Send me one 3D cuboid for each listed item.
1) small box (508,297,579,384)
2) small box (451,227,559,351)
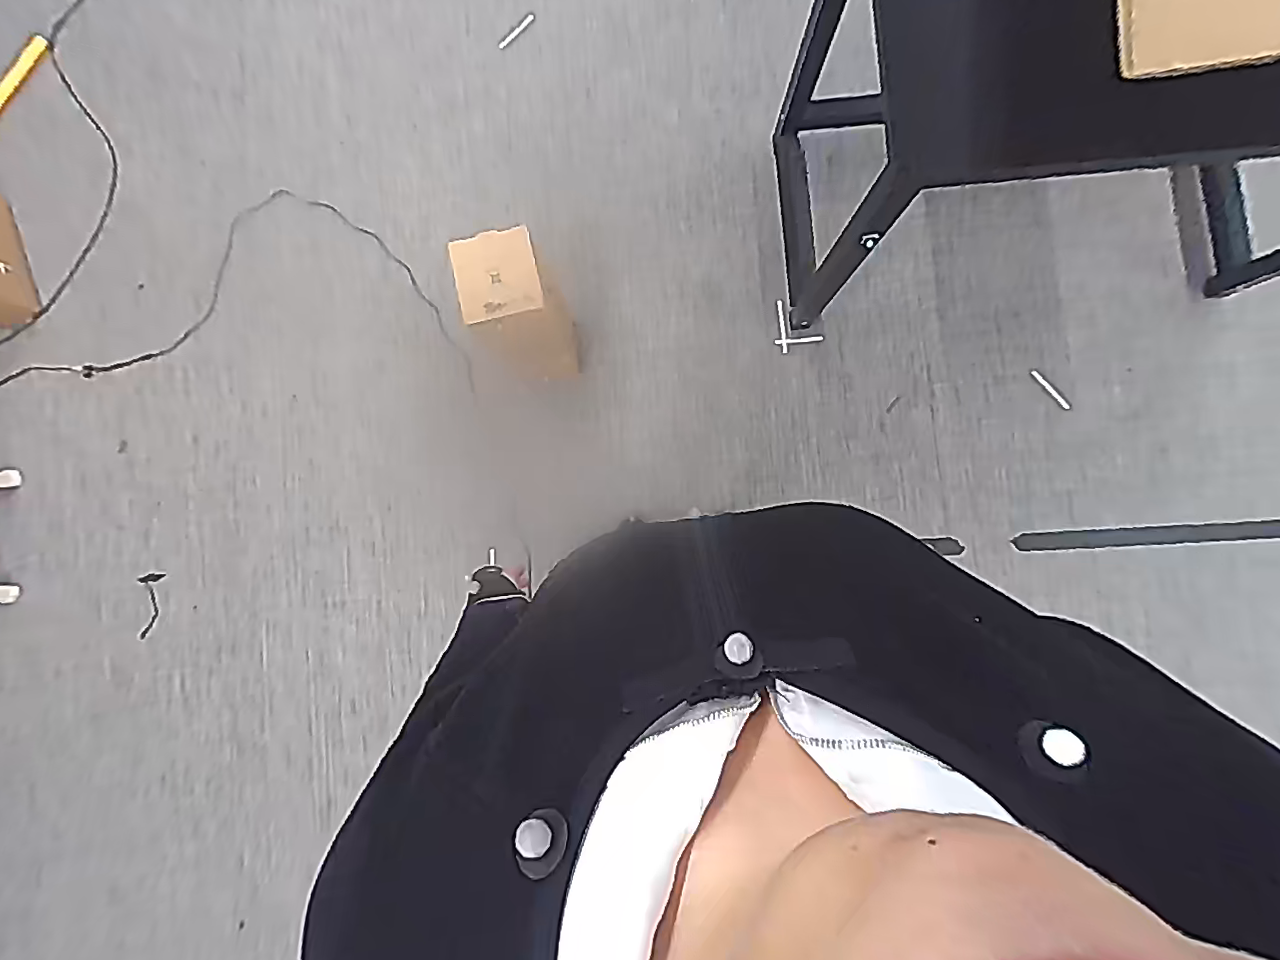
[{"bbox_3d":[-0.266,-0.375,1.476,0.168,0.176,0.179,-8,87,2],"label":"small box"},{"bbox_3d":[-0.281,-0.398,1.151,0.168,0.176,0.179,-13,85,1],"label":"small box"}]
